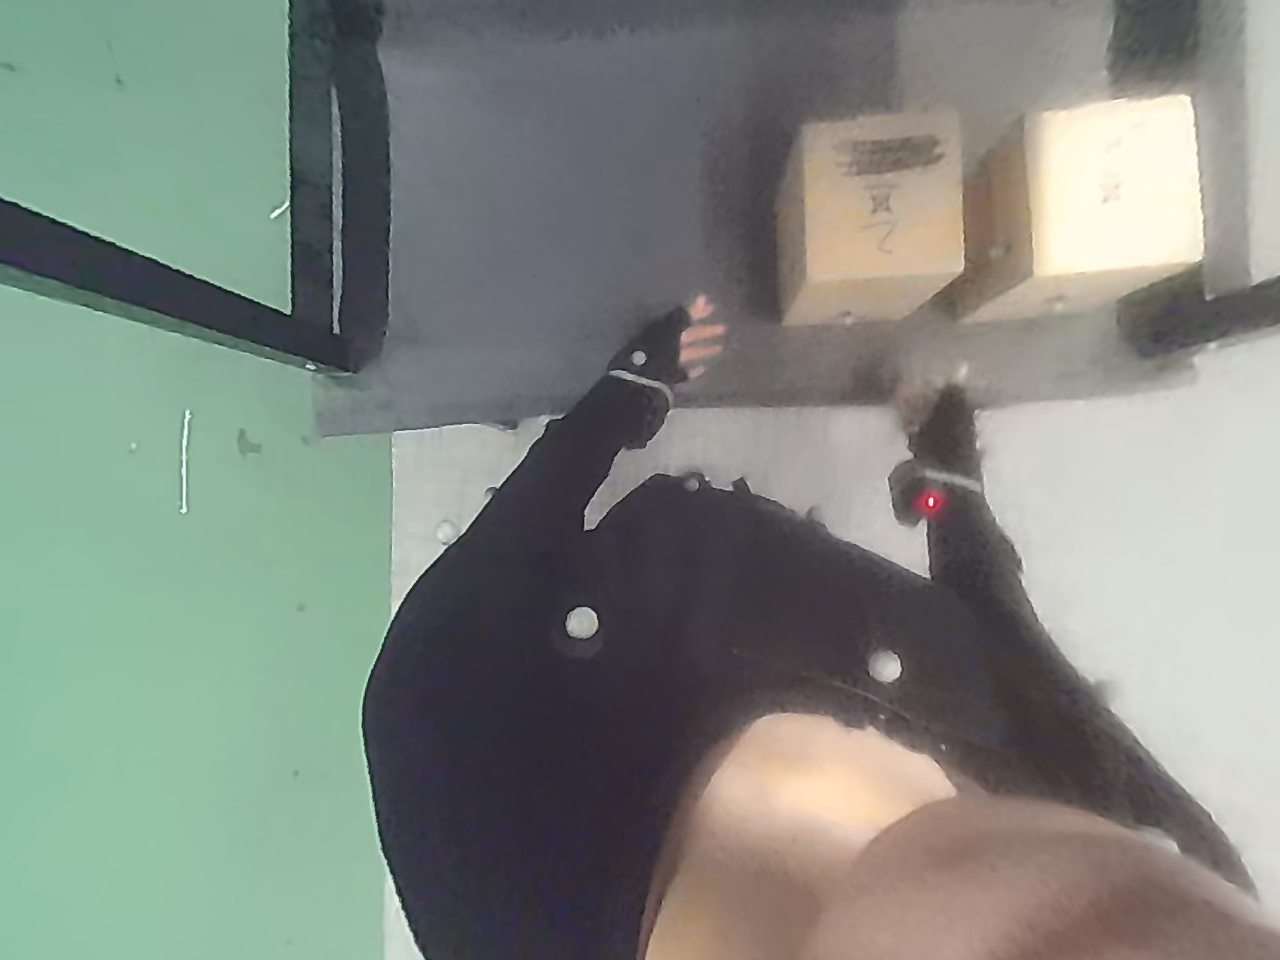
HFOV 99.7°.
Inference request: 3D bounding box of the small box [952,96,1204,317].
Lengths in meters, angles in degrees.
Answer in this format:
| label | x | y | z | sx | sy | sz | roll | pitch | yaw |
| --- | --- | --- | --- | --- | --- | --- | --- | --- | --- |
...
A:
| label | x | y | z | sx | sy | sz | roll | pitch | yaw |
| --- | --- | --- | --- | --- | --- | --- | --- | --- | --- |
| small box | 0.498 | -0.303 | 0.641 | 0.168 | 0.176 | 0.179 | -4 | 89 | 5 |
